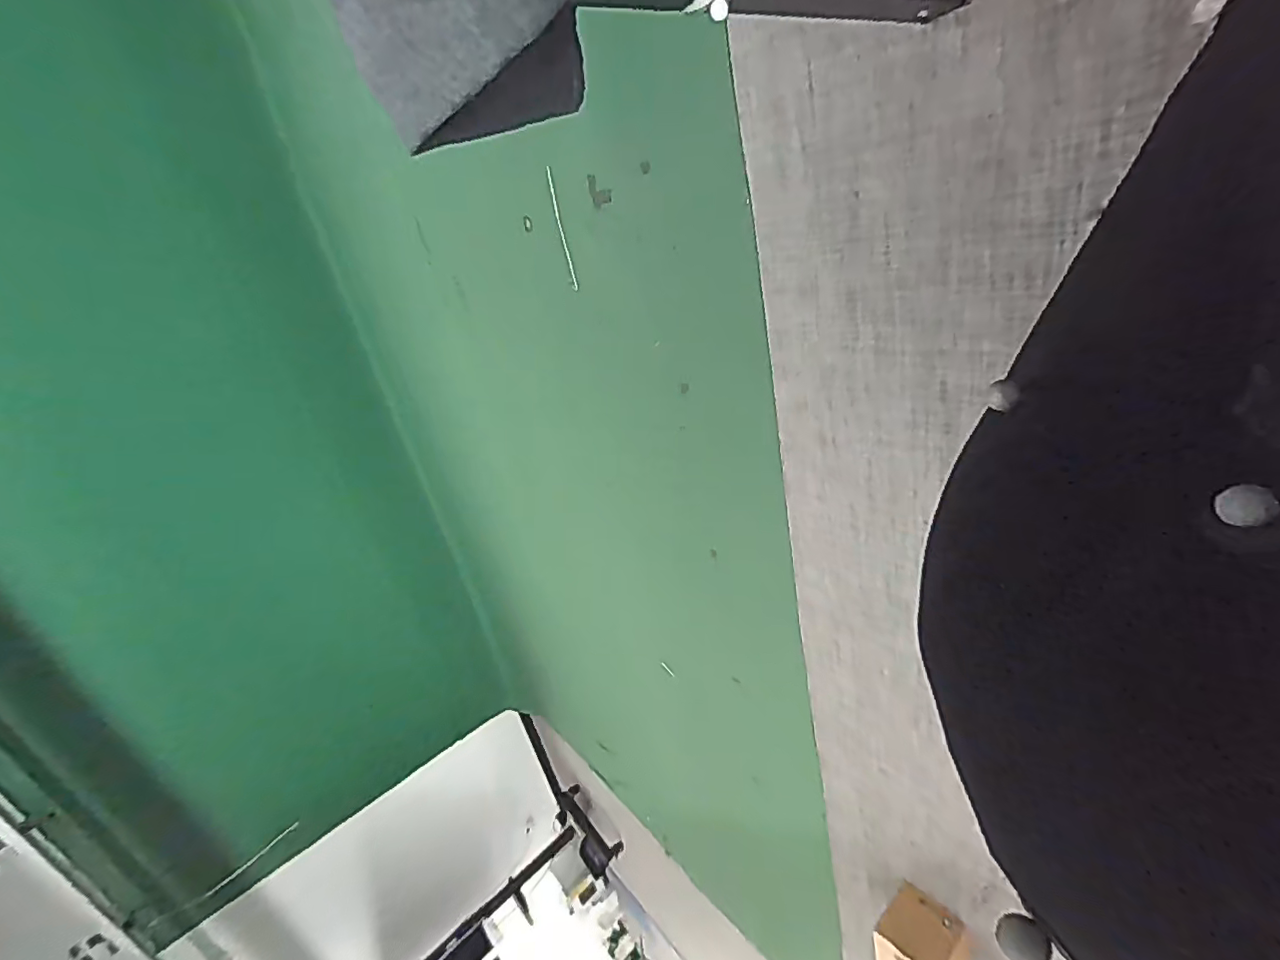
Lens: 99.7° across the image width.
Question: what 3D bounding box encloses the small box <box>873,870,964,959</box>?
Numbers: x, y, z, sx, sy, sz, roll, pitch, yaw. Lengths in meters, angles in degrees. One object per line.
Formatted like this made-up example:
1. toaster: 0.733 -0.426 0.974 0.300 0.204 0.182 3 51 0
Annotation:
1. small box: 0.757 1.221 1.468 0.168 0.176 0.179 16 127 51
